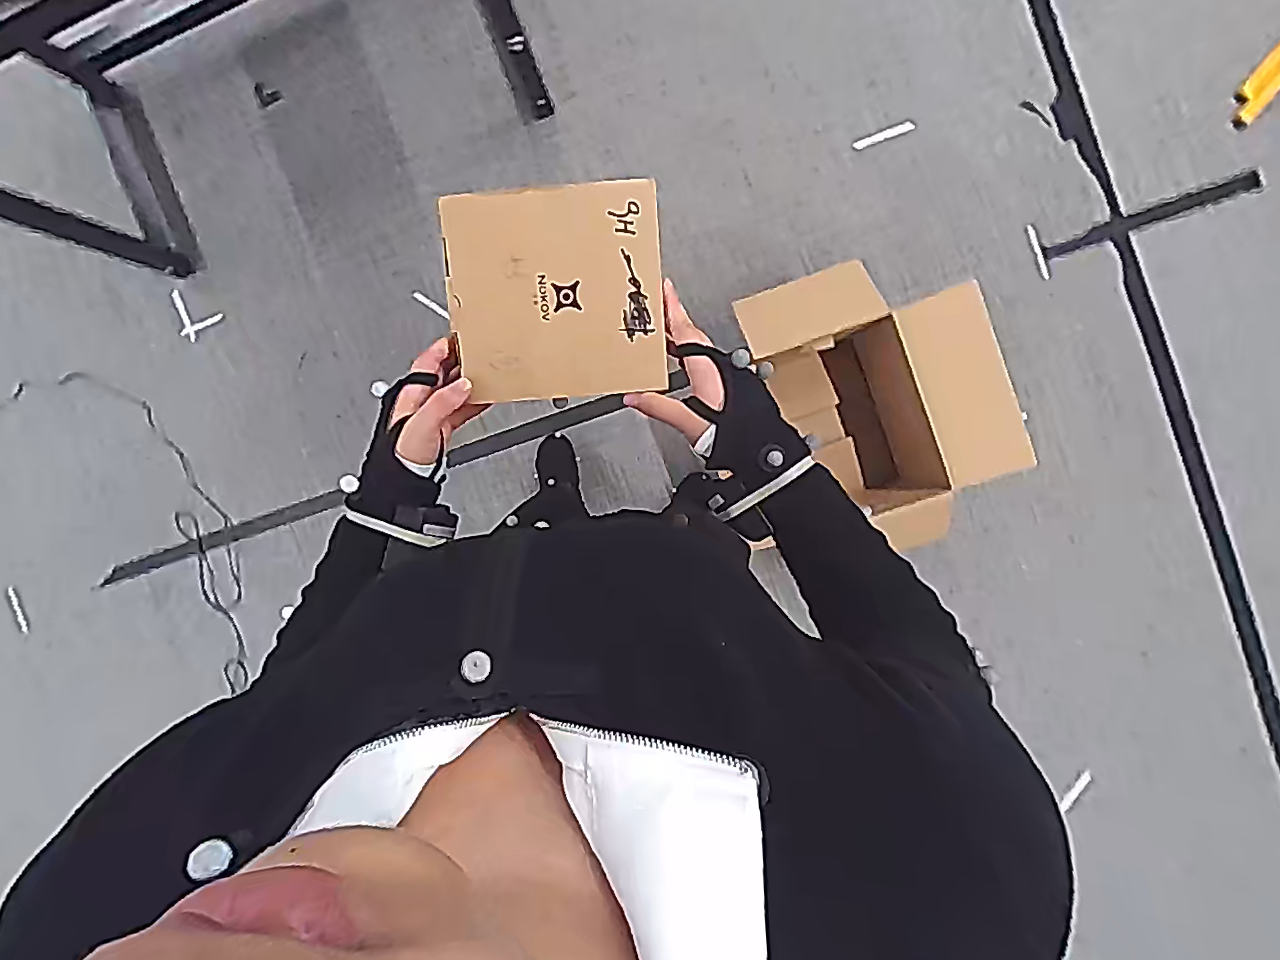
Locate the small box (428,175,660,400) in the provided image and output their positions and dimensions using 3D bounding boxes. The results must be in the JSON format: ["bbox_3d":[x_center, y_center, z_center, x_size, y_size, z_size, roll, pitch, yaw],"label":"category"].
[{"bbox_3d":[-0.074,-0.167,0.516,0.179,0.176,0.168,-5,102,3],"label":"small box"}]
